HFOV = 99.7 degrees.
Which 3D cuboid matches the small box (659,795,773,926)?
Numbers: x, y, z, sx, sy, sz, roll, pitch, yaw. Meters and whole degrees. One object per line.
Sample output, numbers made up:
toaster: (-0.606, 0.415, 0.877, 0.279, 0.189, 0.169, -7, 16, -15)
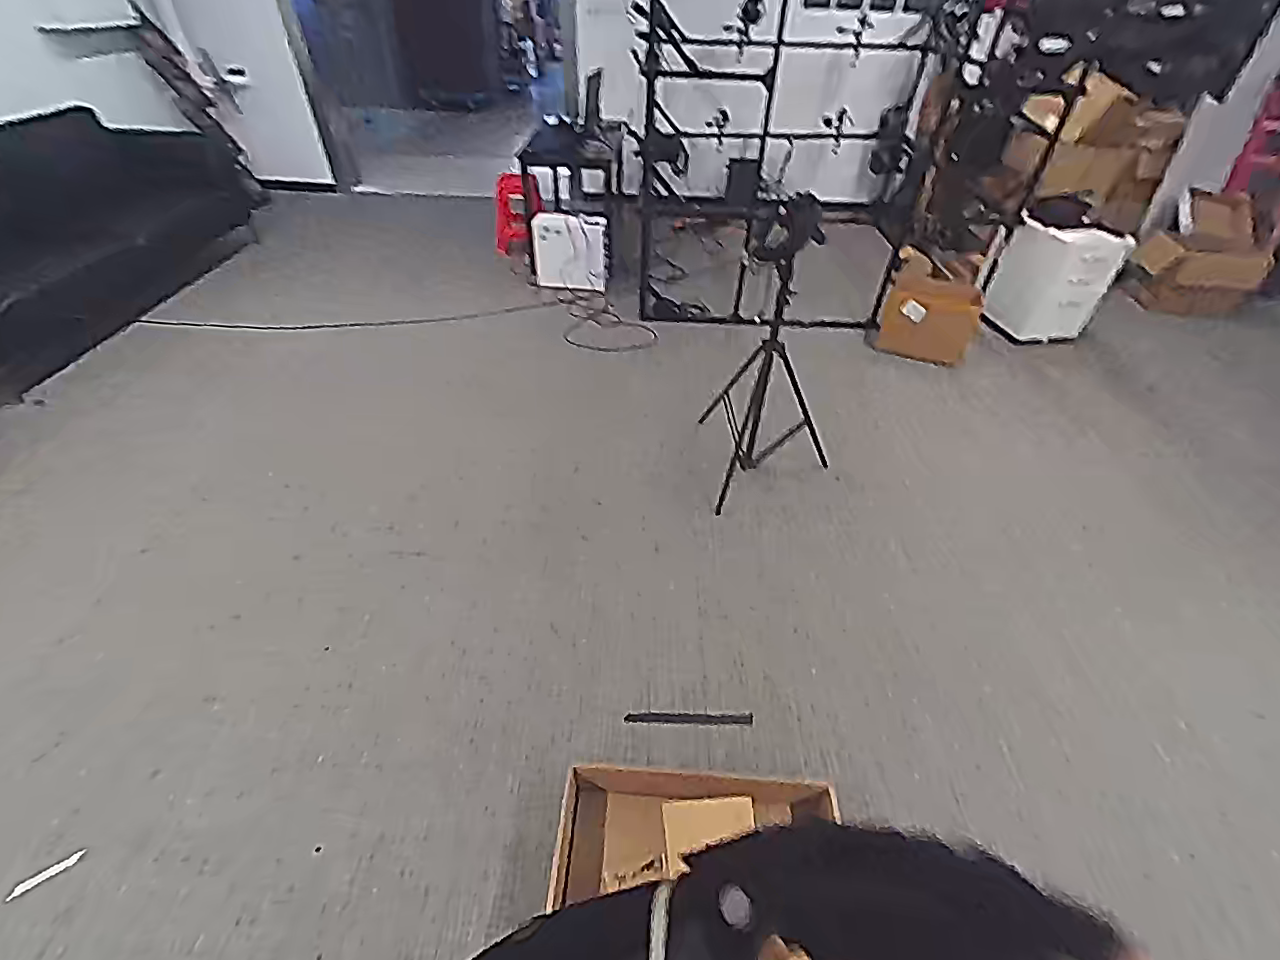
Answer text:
small box: (0.134, 0.724, 1.029, 0.179, 0.176, 0.168, -3, 41, -4)
